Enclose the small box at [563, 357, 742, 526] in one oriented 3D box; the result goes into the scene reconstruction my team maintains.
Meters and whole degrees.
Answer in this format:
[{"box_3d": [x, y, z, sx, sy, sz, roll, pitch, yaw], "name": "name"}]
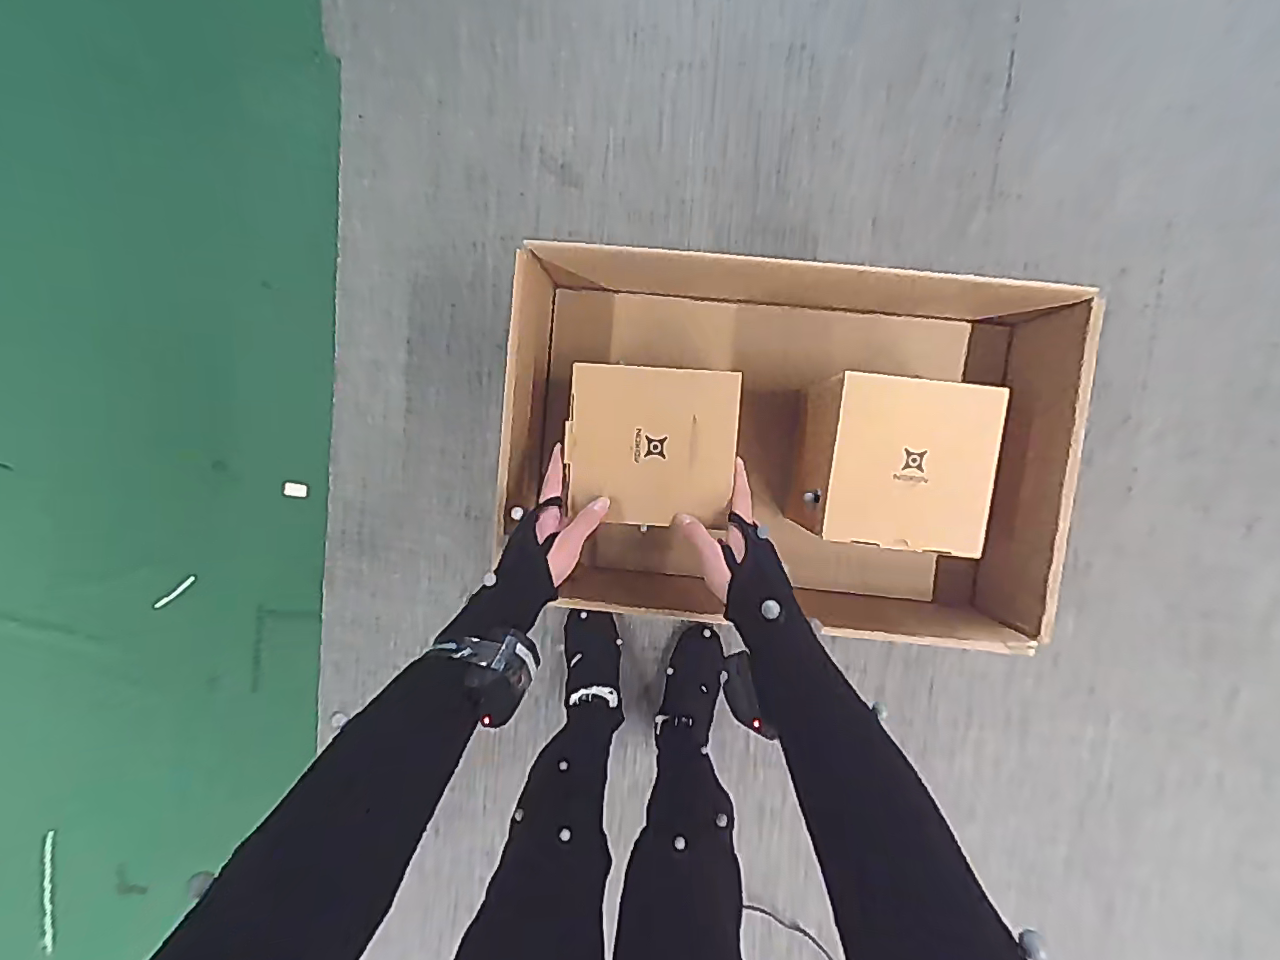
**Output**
[{"box_3d": [0.015, -0.045, 0.639, 0.179, 0.176, 0.168, 5, 95, 2], "name": "small box"}]
